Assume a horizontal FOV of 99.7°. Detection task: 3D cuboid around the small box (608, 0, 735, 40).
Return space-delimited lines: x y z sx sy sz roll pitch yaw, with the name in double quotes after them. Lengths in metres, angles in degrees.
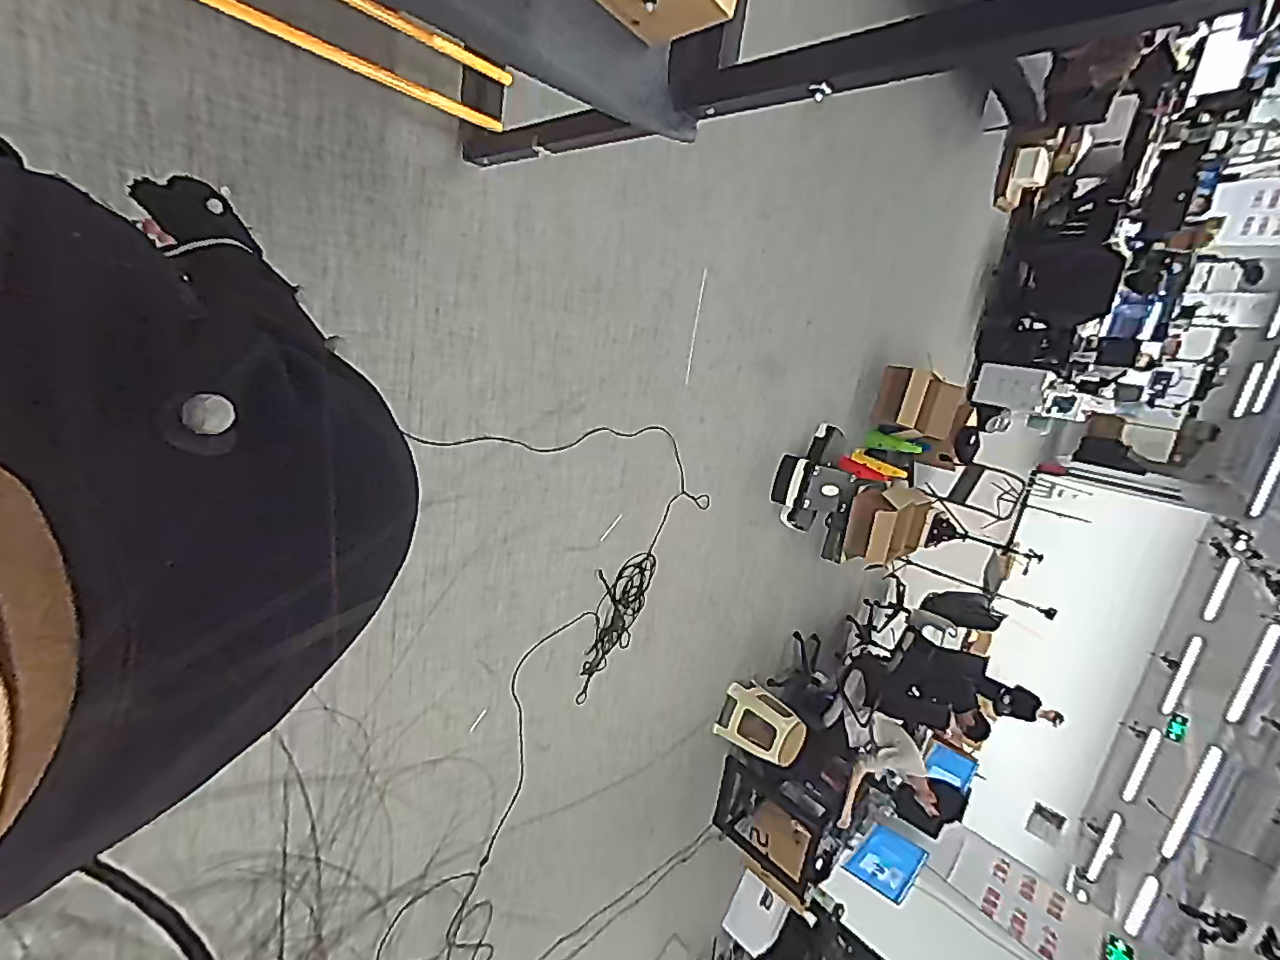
0.037 -0.777 0.765 0.168 0.176 0.179 -1 106 -47 "small box"
